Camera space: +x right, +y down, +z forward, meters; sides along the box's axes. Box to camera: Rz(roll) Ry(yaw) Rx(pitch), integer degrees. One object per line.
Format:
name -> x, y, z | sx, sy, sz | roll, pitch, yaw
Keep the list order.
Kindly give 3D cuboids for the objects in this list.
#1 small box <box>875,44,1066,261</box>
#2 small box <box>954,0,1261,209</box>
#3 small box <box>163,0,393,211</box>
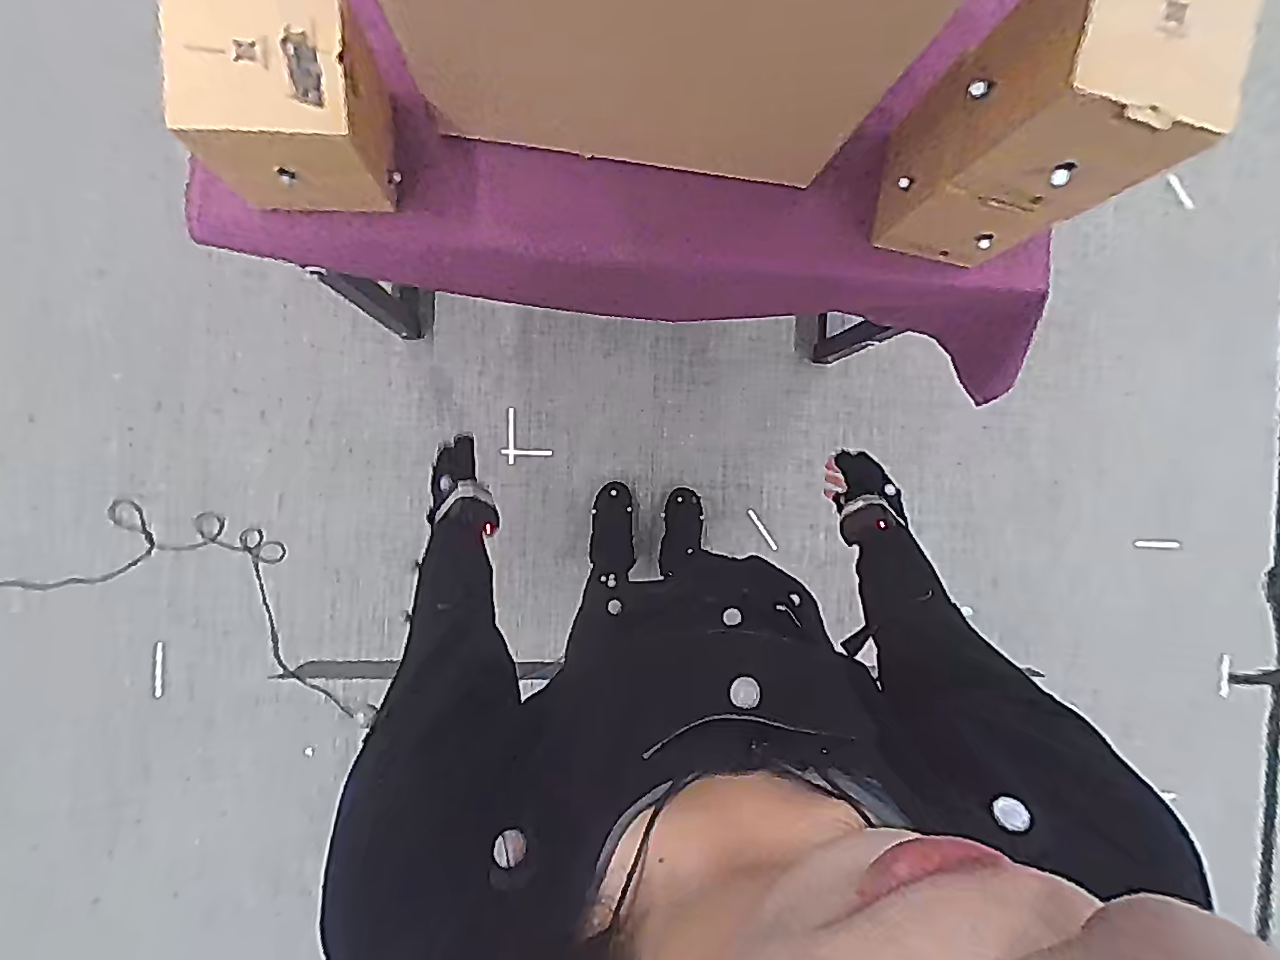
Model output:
small box -> 0.443, -0.421, 0.730 | 0.168, 0.176, 0.179 | 9, 89, -7
small box -> 0.469, -0.420, 0.567 | 0.168, 0.176, 0.179 | 13, 90, -7
small box -> -0.401, -0.436, 0.632 | 0.179, 0.176, 0.168 | -3, 90, -7
